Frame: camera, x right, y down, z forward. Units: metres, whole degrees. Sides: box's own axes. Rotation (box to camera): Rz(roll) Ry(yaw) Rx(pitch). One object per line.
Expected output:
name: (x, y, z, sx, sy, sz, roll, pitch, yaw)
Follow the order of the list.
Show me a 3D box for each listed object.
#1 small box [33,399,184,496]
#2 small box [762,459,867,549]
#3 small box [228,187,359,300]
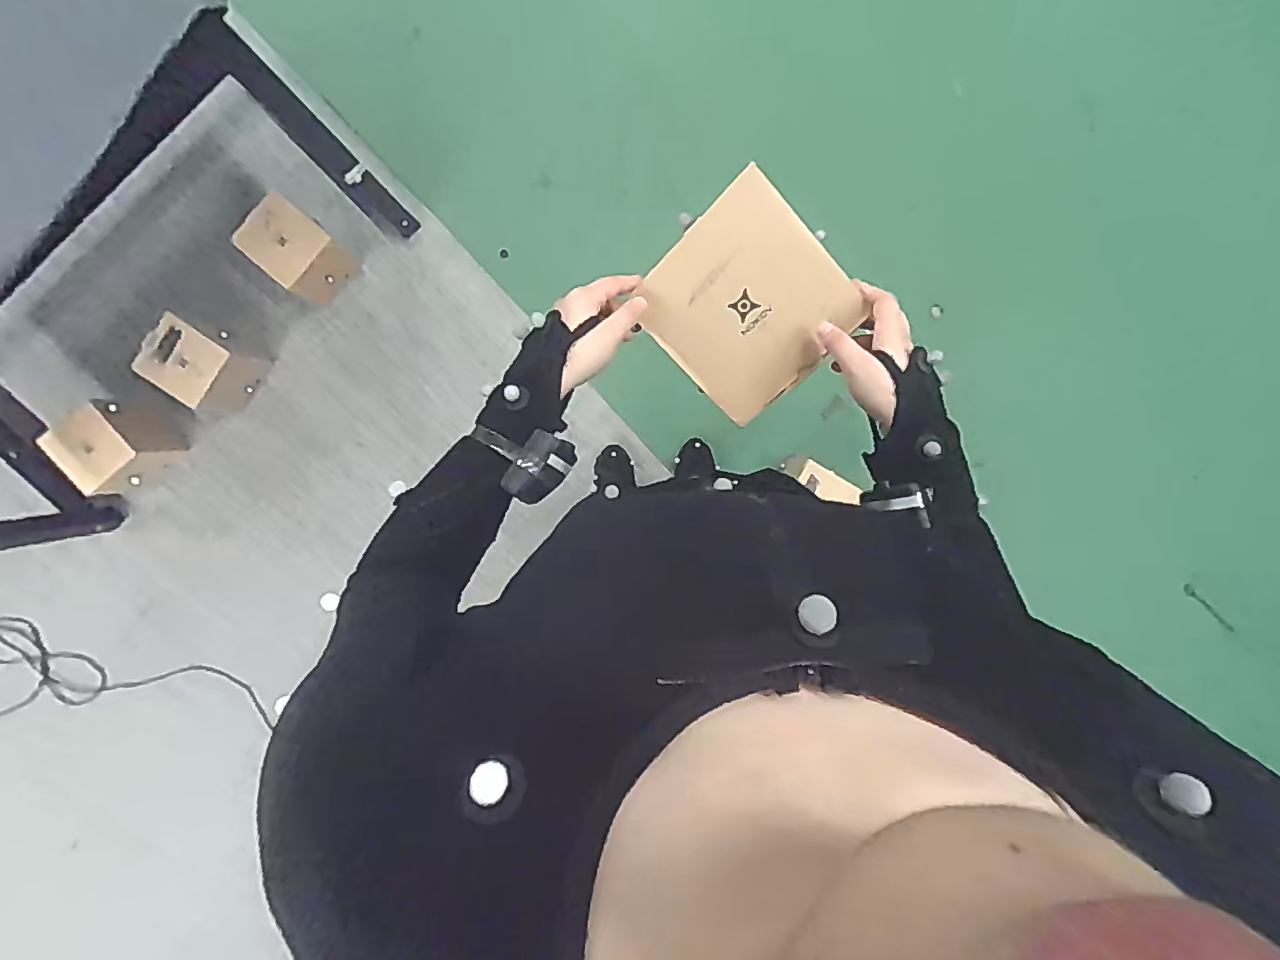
small box: (-1.318, -0.084, 1.357, 0.168, 0.176, 0.179, -40, 94, 2)
small box: (0.447, 0.057, 1.416, 0.179, 0.176, 0.168, 30, 93, -4)
small box: (-0.840, -0.567, 1.332, 0.179, 0.176, 0.168, 41, 92, -4)
